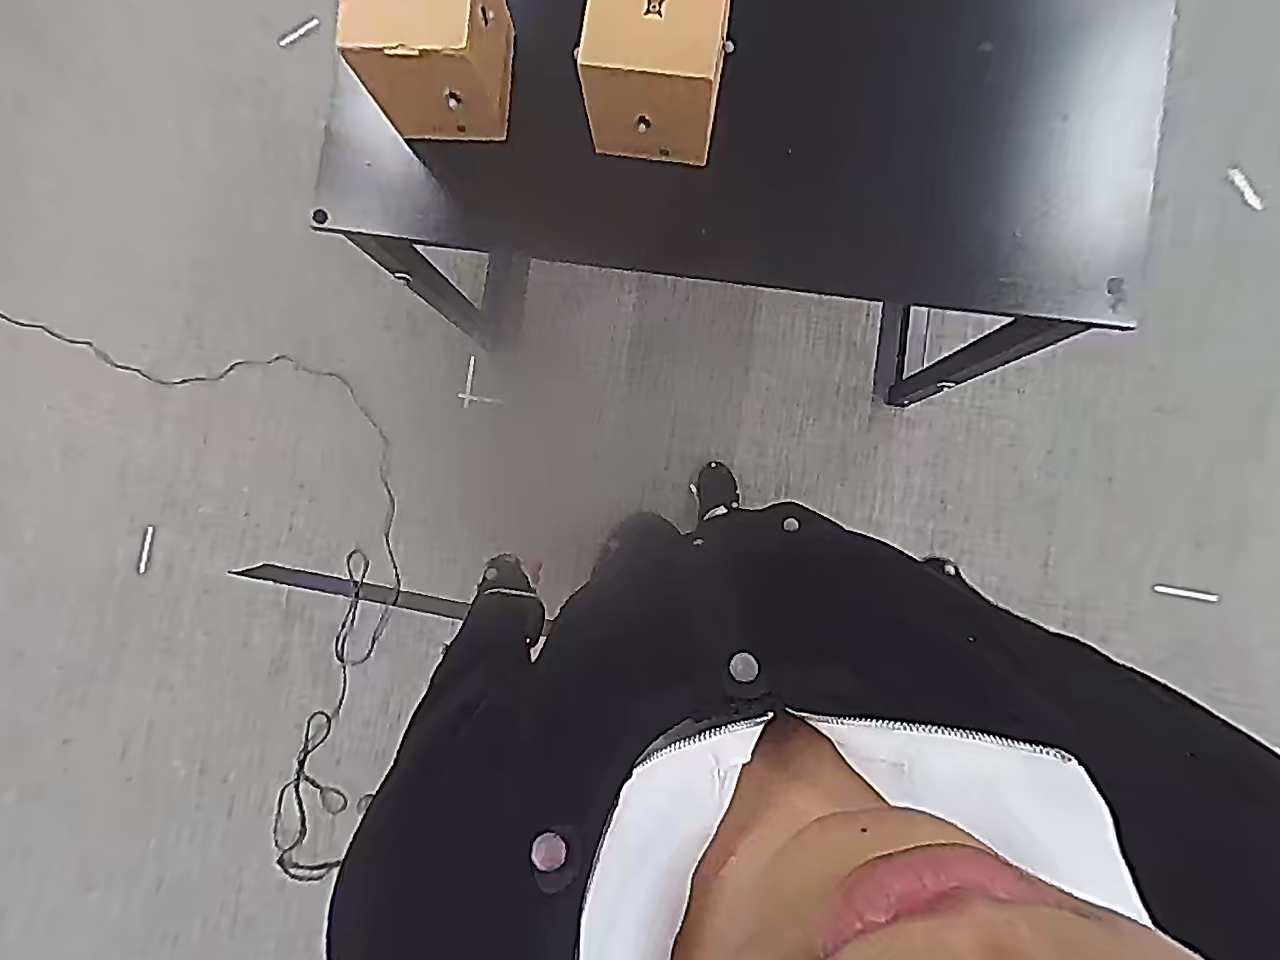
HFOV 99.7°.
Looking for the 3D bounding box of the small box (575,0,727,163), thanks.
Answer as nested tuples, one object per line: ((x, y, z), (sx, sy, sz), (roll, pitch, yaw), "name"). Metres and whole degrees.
((0.021, -0.559, 0.719), (0.168, 0.176, 0.179), (9, 88, 3), "small box")

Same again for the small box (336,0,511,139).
((-0.283, -0.602, 0.740), (0.168, 0.176, 0.179), (3, 87, 2), "small box")
